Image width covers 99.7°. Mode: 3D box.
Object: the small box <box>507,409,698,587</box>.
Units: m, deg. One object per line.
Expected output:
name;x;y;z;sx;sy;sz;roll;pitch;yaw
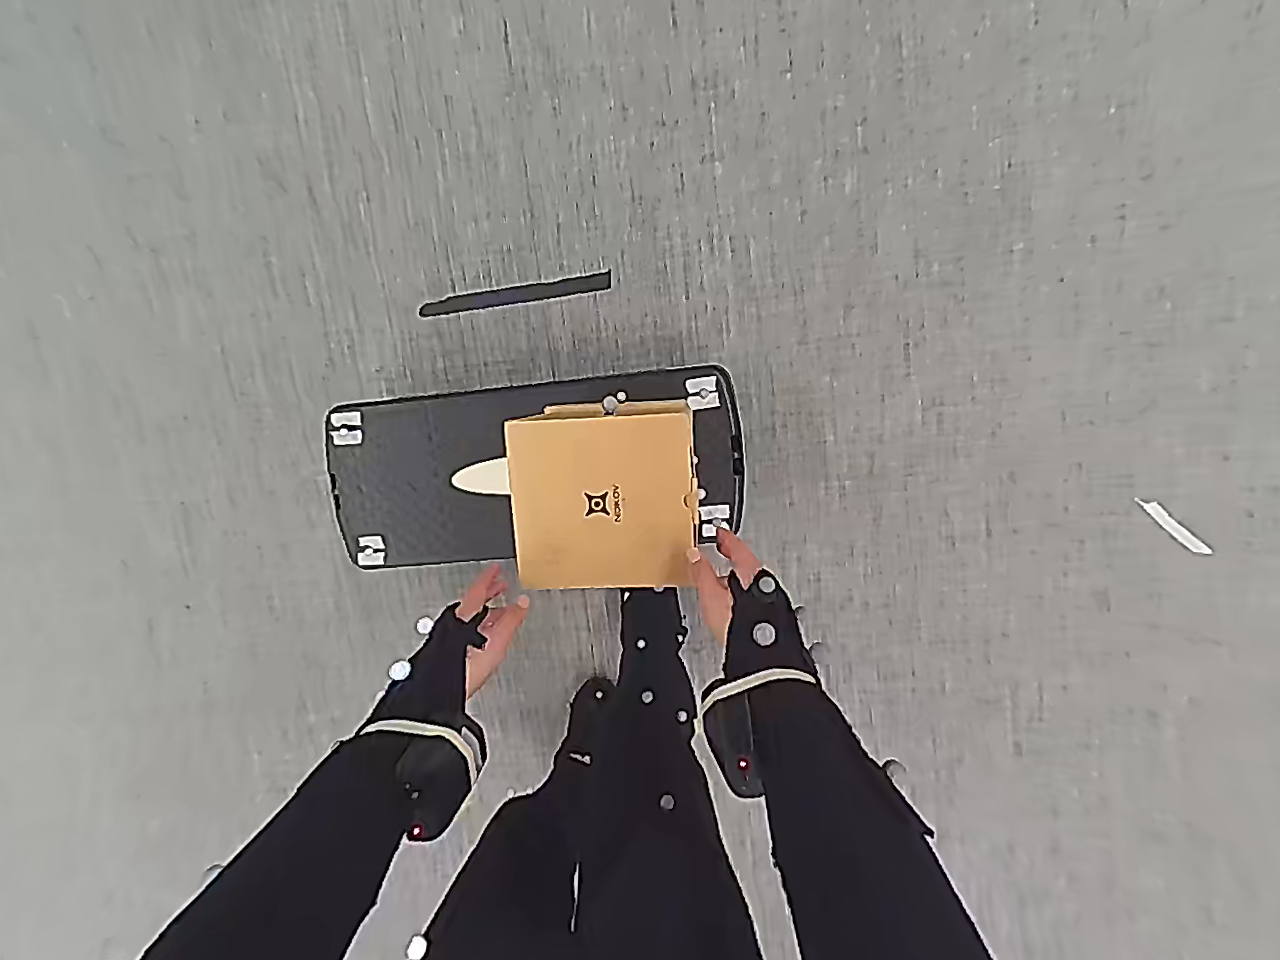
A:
small box;-0.028;0.010;0.586;0.179;0.176;0.168;-3;98;4

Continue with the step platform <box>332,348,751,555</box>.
step platform;-0.156;-0.046;0.928;0.684;0.204;0.286;-6;98;6
